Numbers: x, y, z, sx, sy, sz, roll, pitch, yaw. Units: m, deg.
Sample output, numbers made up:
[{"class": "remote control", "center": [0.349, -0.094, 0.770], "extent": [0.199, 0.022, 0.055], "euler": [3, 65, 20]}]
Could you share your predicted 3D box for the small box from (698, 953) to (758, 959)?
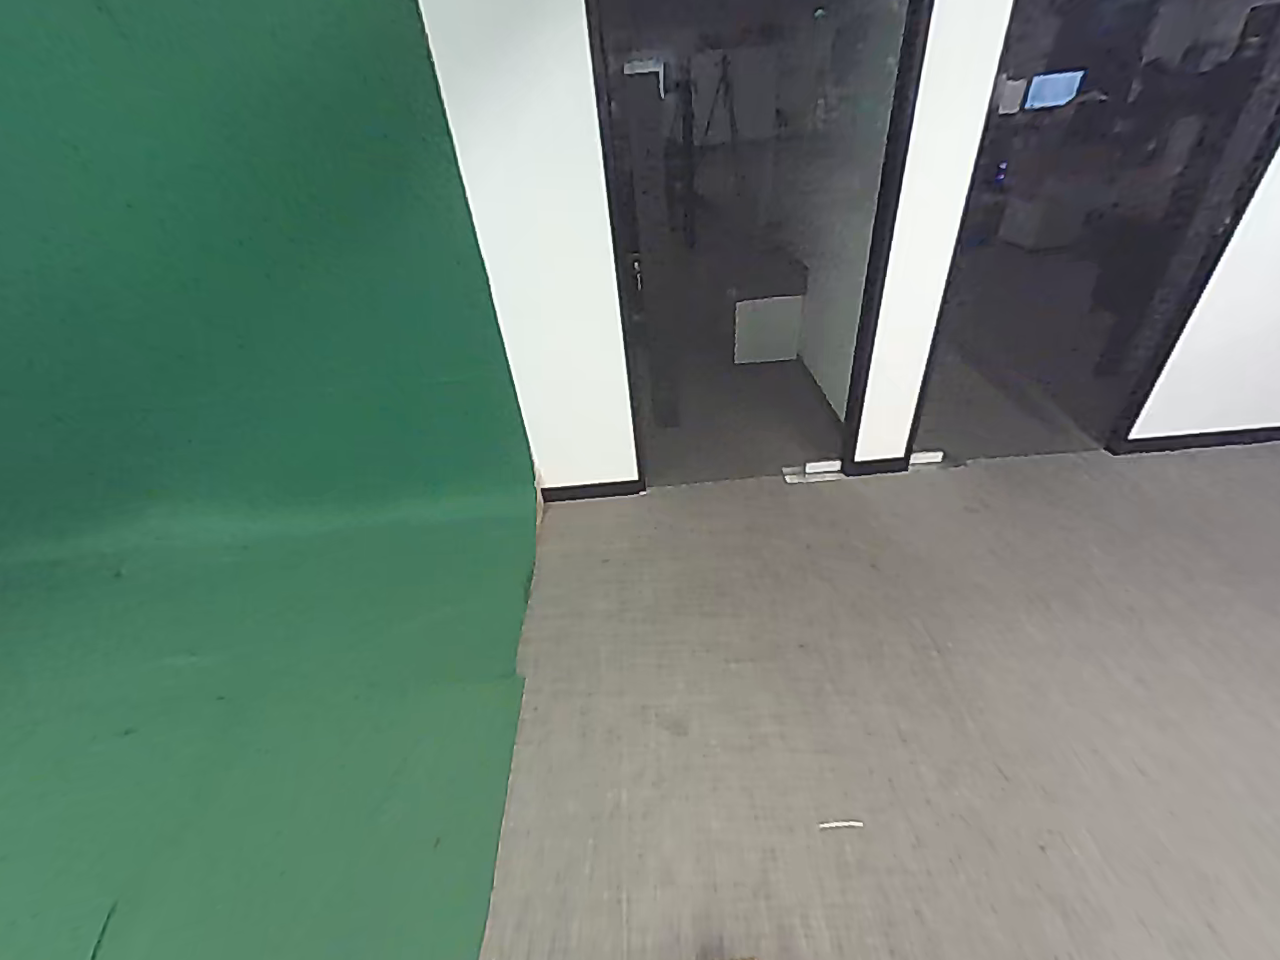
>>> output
[{"class": "small box", "center": [0.155, 1.034, 1.015], "extent": [0.168, 0.176, 0.179], "euler": [-7, 36, -1]}]
